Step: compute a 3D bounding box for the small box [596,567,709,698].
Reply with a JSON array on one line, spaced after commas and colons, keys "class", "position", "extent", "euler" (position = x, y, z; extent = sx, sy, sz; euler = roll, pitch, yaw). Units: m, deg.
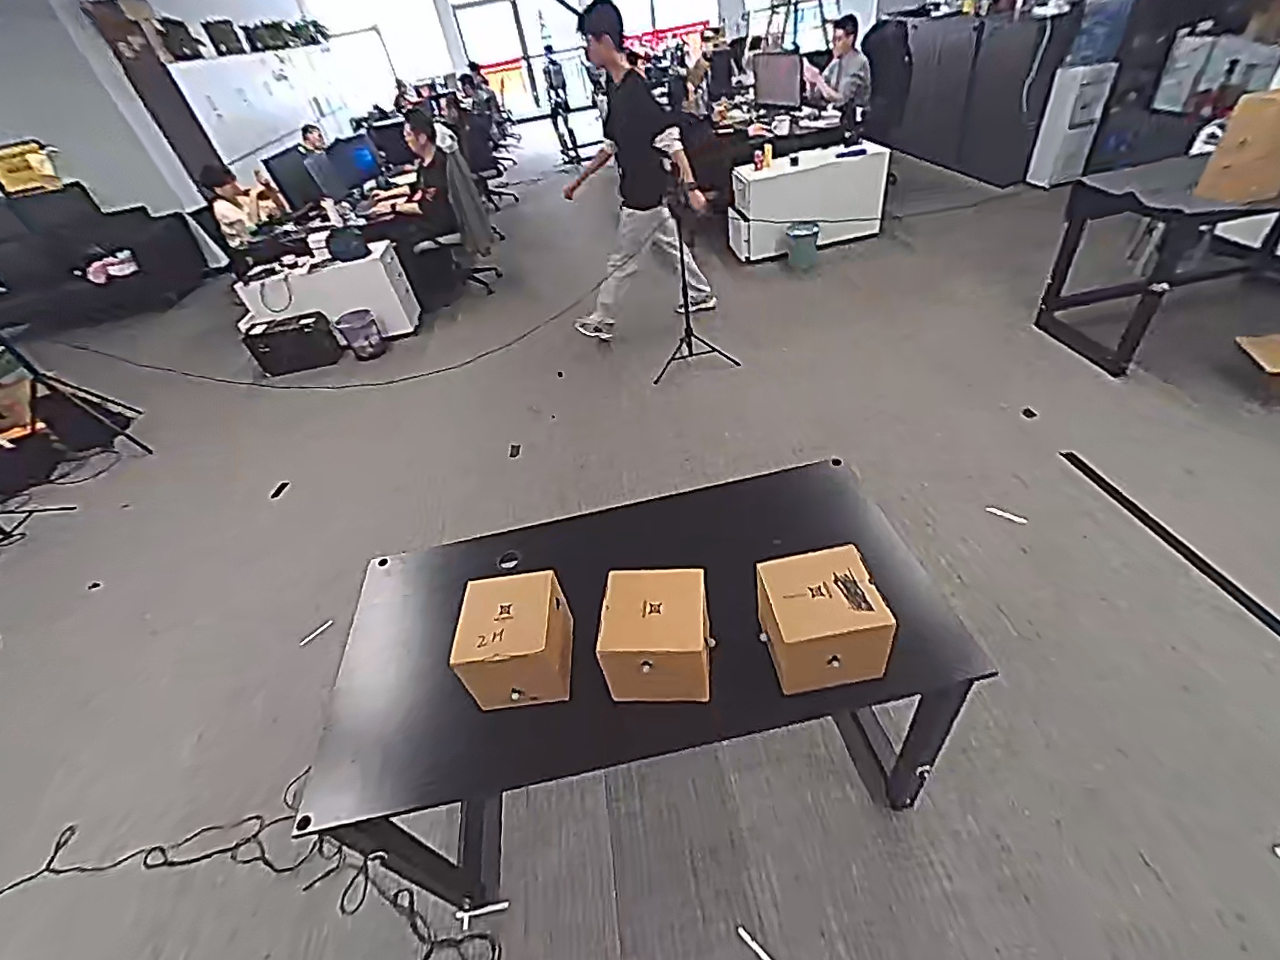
[{"class": "small box", "position": [0.033, 0.273, 0.966], "extent": [0.179, 0.176, 0.168], "euler": [-4, 41, 10]}]

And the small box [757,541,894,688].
[{"class": "small box", "position": [0.309, 0.235, 0.937], "extent": [0.179, 0.176, 0.168], "euler": [-12, 41, 2]}]

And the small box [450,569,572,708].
[{"class": "small box", "position": [-0.227, 0.294, 1.004], "extent": [0.168, 0.176, 0.179], "euler": [-9, 42, 4]}]
